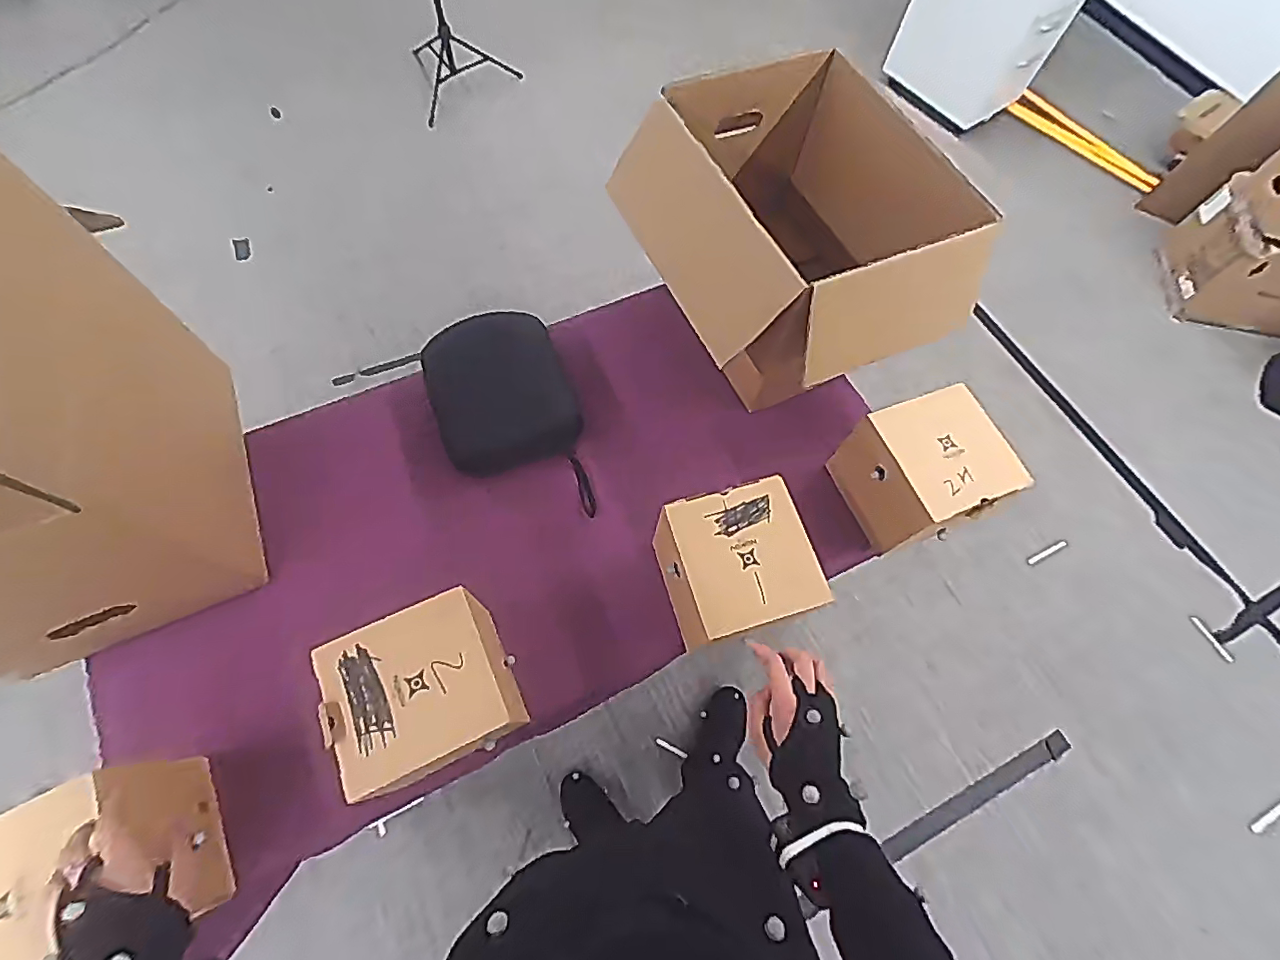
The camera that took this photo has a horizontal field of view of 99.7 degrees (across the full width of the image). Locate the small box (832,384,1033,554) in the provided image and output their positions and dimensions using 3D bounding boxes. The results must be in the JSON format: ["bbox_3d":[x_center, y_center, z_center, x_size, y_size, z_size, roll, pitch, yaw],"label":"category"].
[{"bbox_3d":[0.420,-0.010,0.815,0.168,0.176,0.179,-19,69,-10],"label":"small box"}]

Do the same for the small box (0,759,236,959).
[{"bbox_3d":[-0.584,0.421,0.572,0.179,0.176,0.168,-25,70,-15],"label":"small box"}]
